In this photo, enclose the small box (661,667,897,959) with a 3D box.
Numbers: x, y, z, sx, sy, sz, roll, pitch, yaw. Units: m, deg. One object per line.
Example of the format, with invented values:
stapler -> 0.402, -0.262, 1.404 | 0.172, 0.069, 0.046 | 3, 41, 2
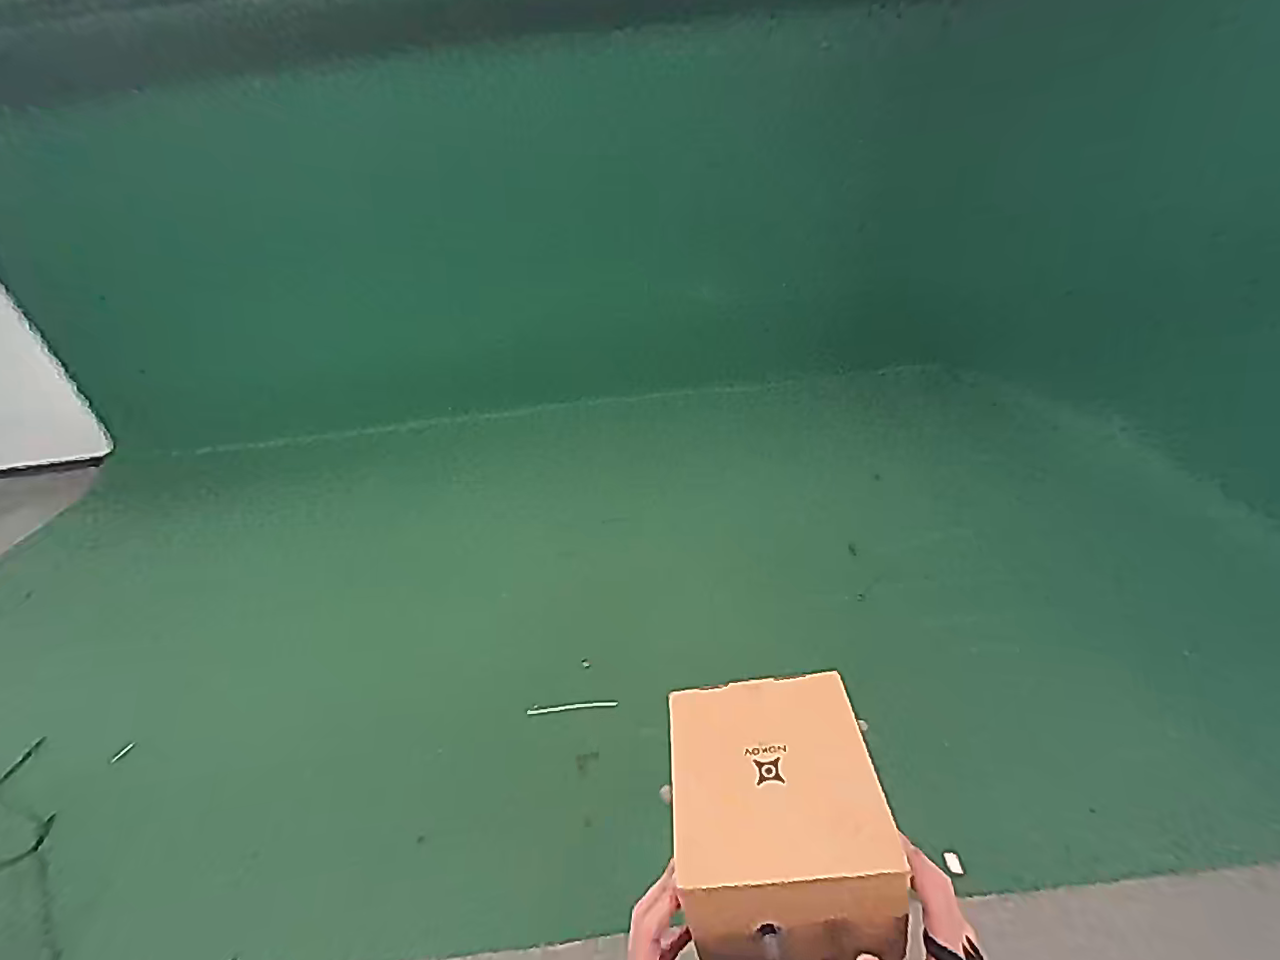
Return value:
small box -> 0.116, 0.302, 0.483 | 0.168, 0.176, 0.179 | -10, 27, 6
